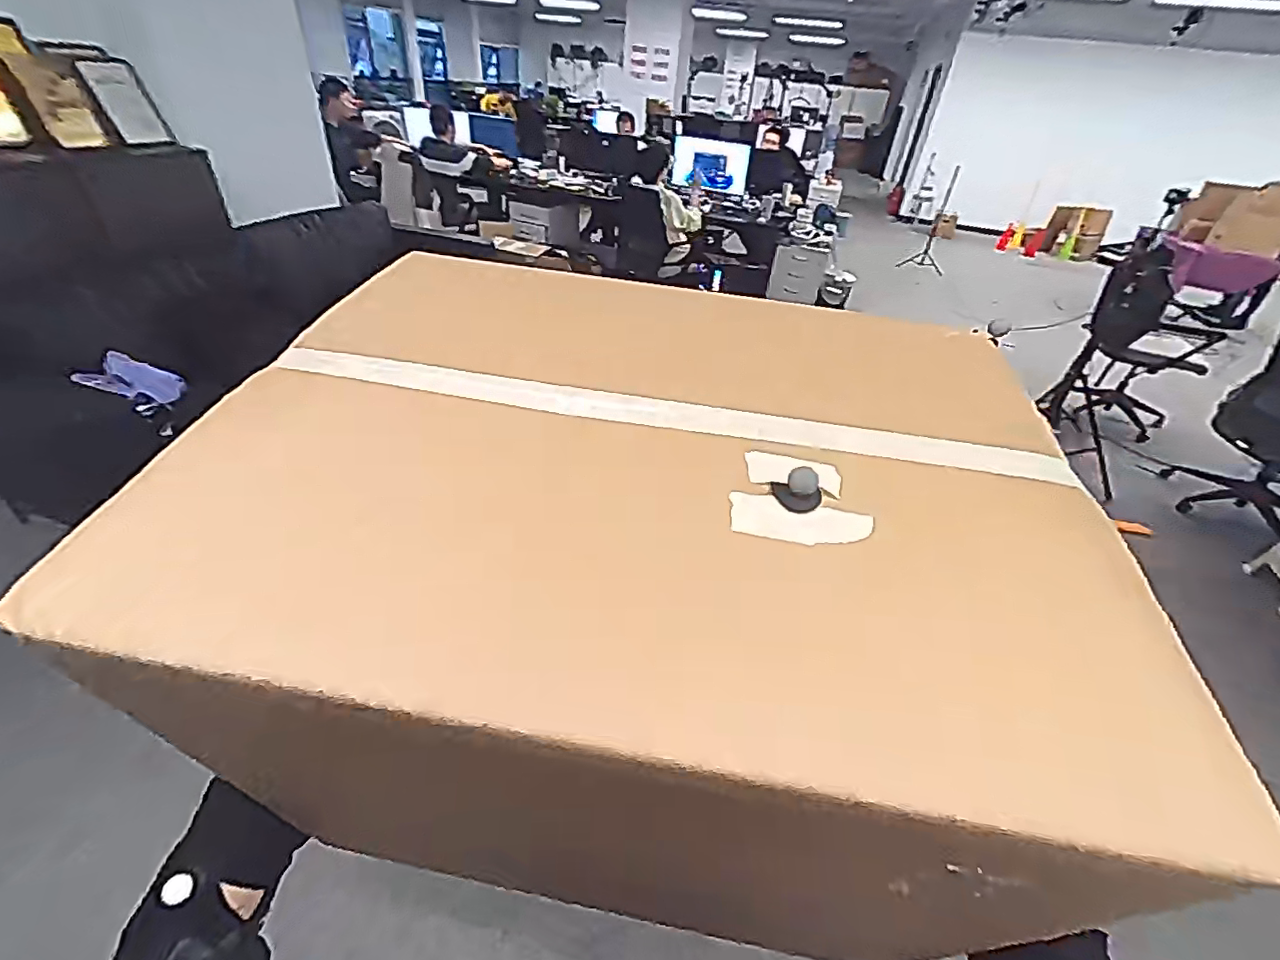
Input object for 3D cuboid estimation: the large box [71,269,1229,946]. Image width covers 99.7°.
[{"bbox_3d":[0.002,0.082,0.389,0.408,0.320,0.320,10,45,4],"label":"large box"}]
